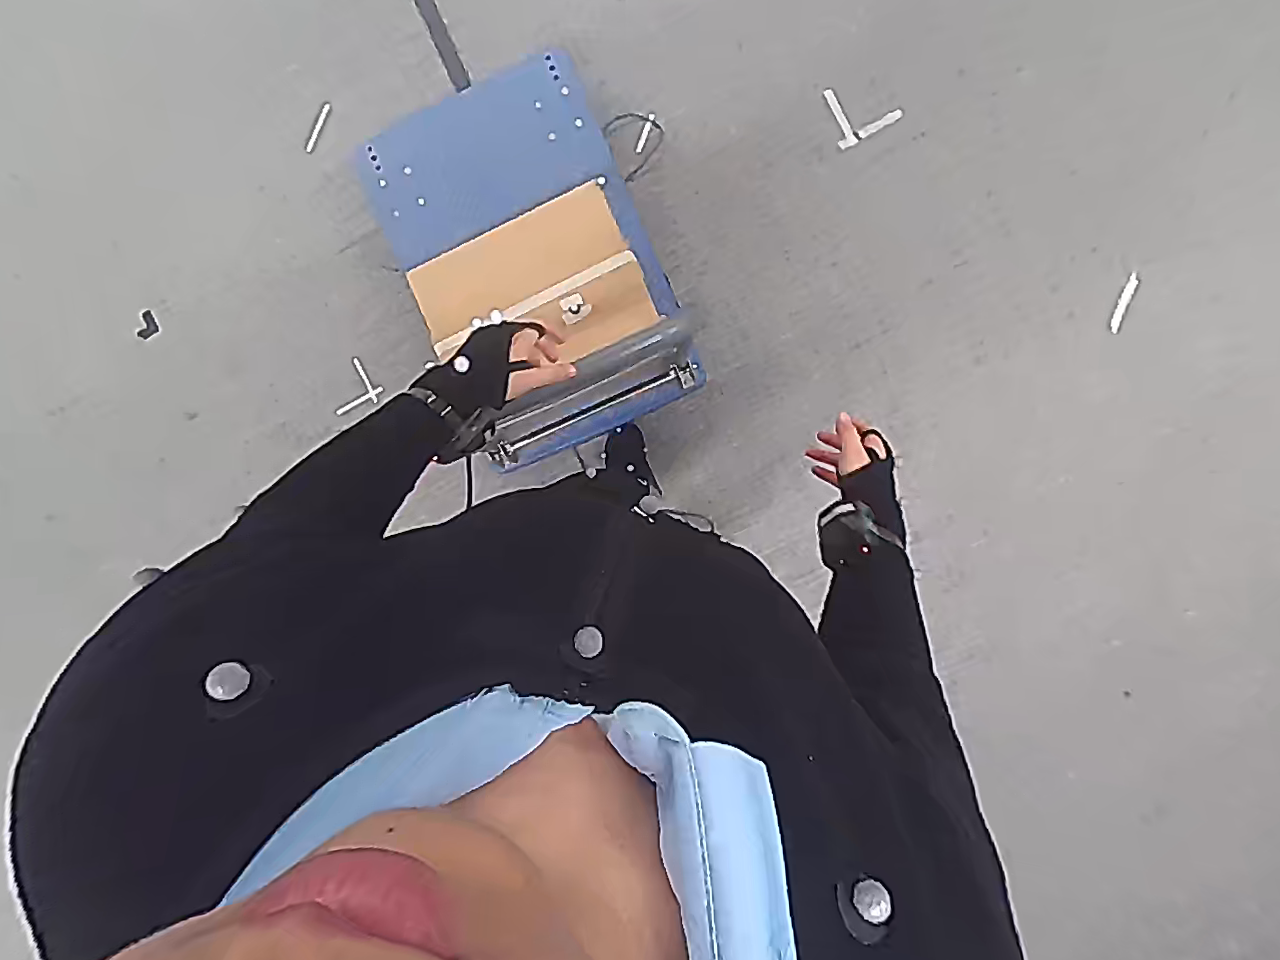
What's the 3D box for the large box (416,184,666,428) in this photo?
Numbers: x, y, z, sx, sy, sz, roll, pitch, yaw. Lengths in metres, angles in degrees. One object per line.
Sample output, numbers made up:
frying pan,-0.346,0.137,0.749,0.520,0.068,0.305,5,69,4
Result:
large box,-0.184,-0.339,1.169,0.408,0.320,0.320,-24,92,4
